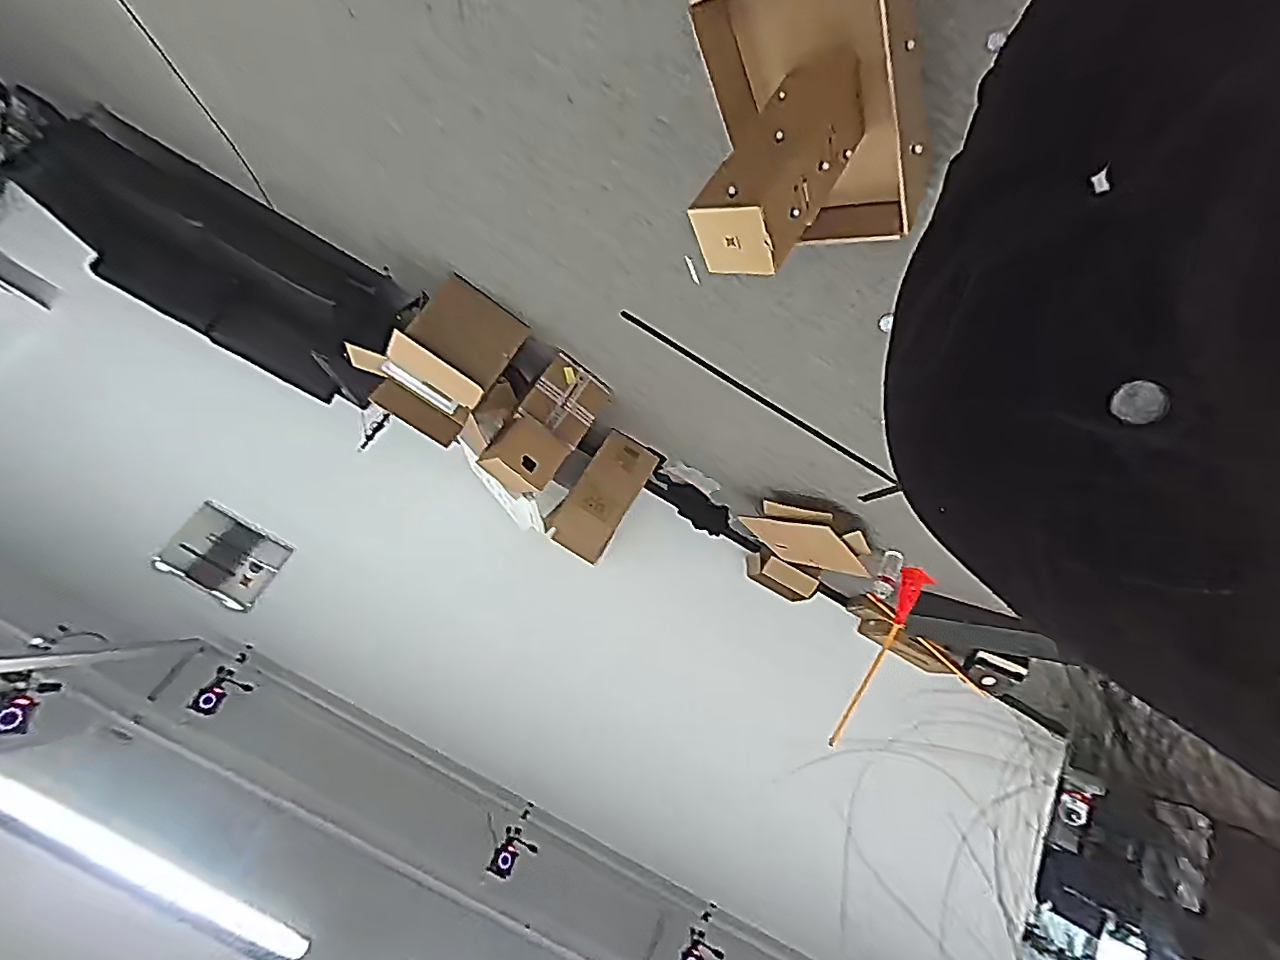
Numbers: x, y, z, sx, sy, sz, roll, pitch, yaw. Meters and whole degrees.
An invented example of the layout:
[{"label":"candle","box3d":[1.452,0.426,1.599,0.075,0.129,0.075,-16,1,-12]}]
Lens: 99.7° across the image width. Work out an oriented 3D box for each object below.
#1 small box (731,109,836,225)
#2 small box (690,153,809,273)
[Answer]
[{"label":"small box","box3d":[0.330,-0.702,1.220,0.179,0.176,0.168,18,158,34]},{"label":"small box","box3d":[0.241,-0.574,1.170,0.179,0.176,0.168,18,158,36]}]
